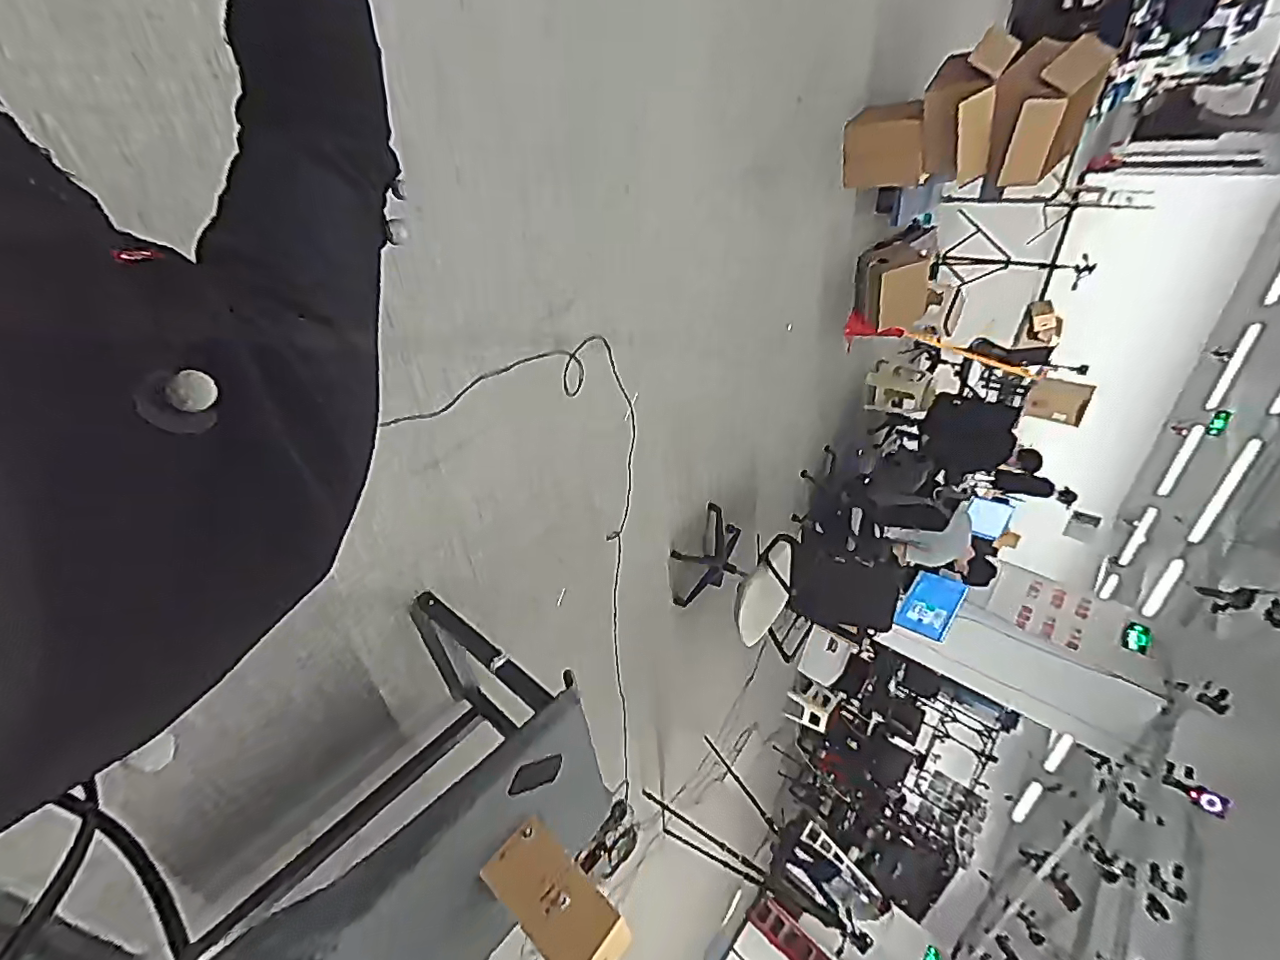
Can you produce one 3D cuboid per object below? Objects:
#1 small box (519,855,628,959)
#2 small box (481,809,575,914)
[{"bbox_3d":[-0.153,1.026,1.260,0.168,0.176,0.179,-40,136,-33],"label":"small box"},{"bbox_3d":[-0.272,0.971,1.355,0.168,0.176,0.179,-38,137,-33],"label":"small box"}]
